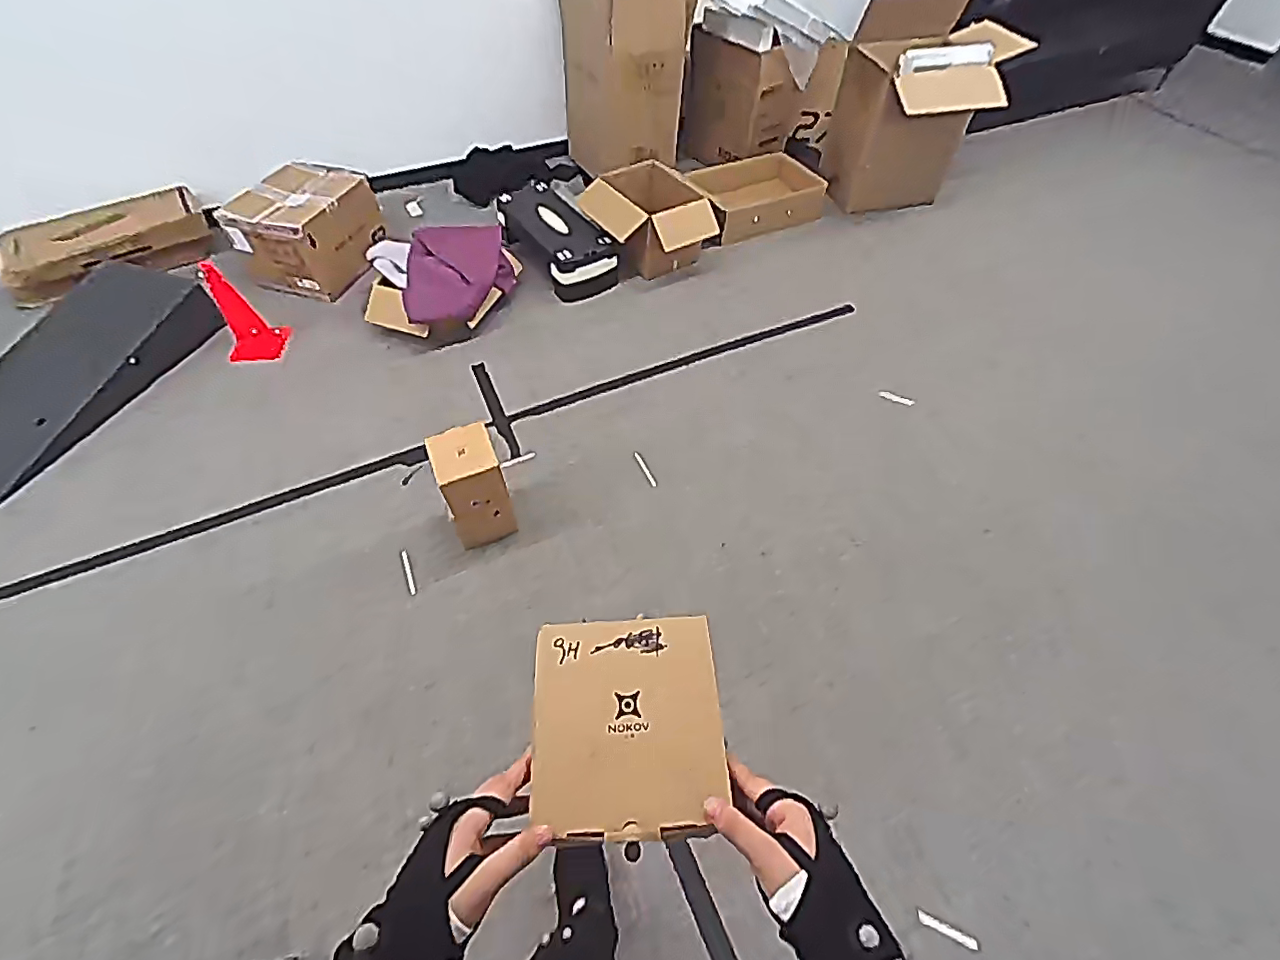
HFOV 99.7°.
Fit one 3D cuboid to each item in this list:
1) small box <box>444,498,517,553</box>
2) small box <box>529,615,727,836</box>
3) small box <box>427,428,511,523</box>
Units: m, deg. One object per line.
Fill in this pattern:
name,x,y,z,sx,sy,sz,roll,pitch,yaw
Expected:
small box,-0.484,0.093,1.647,0.179,0.176,0.168,-20,56,-14
small box,-0.012,0.252,0.549,0.168,0.176,0.179,-3,55,-2
small box,-0.477,-0.010,1.522,0.168,0.176,0.179,-21,58,-15
